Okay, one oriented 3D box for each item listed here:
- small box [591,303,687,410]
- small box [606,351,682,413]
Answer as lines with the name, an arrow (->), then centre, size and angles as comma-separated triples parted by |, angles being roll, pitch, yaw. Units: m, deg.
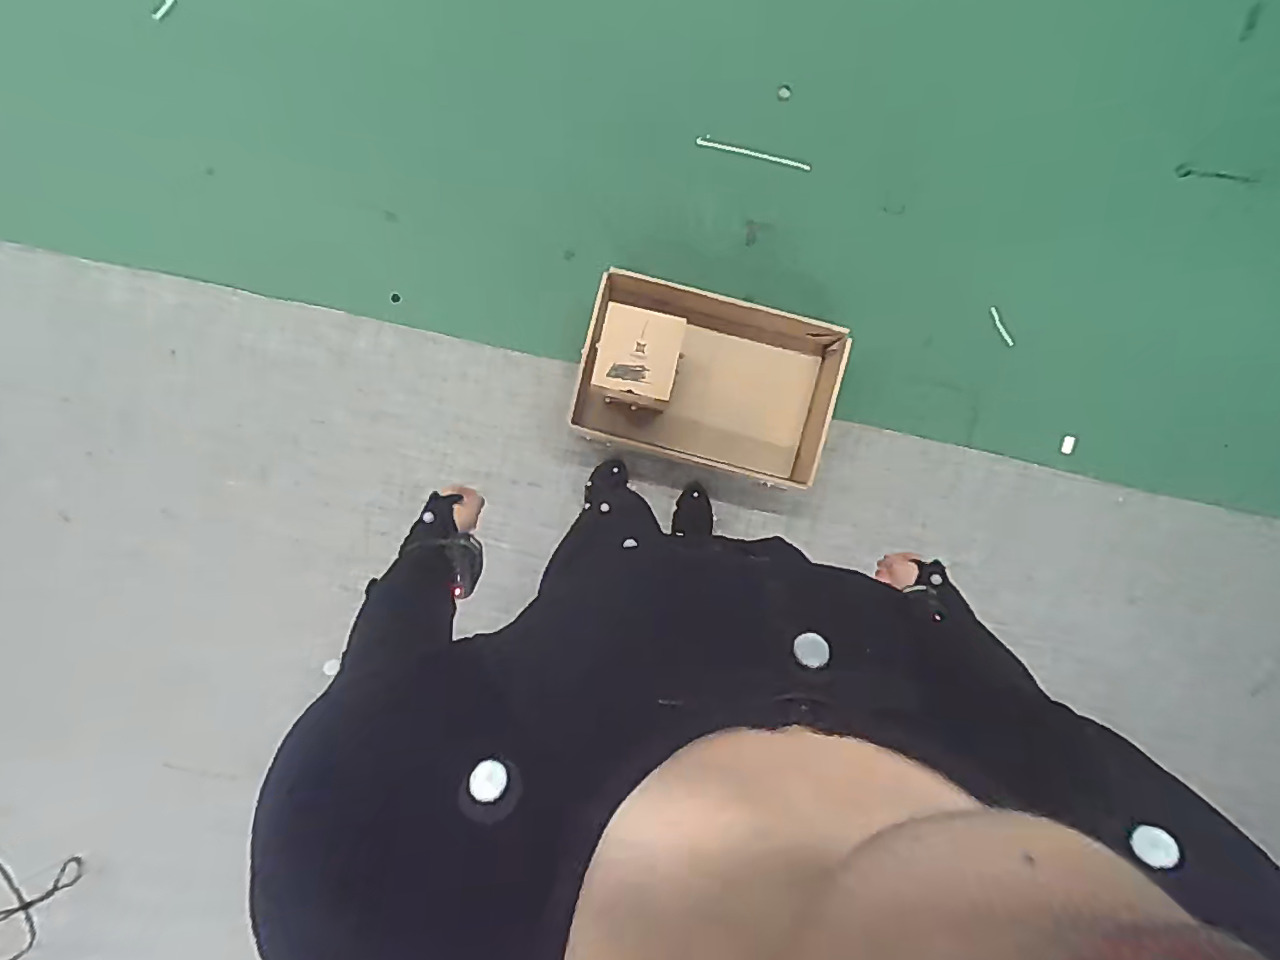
small box -> -0.002, -0.256, 1.167 | 0.168, 0.176, 0.179 | 13, 91, -2
small box -> 0.005, -0.272, 1.331 | 0.168, 0.176, 0.179 | 12, 92, -1
